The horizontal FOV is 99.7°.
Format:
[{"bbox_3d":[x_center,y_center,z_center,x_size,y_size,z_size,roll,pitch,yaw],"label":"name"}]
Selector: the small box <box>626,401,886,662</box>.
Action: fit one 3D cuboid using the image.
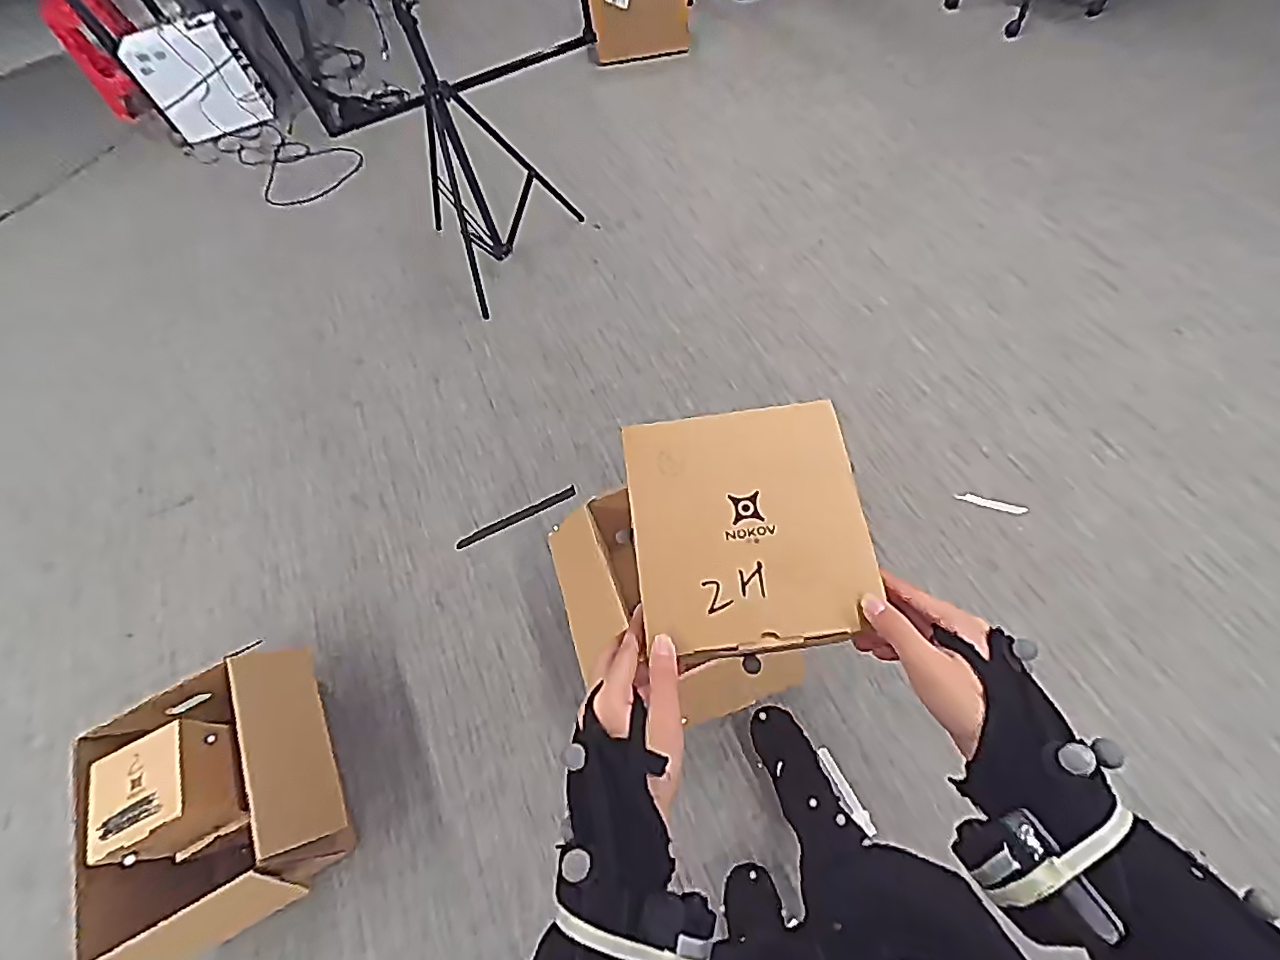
[{"bbox_3d":[0.081,0.055,0.470,0.168,0.176,0.179,-8,69,1],"label":"small box"}]
